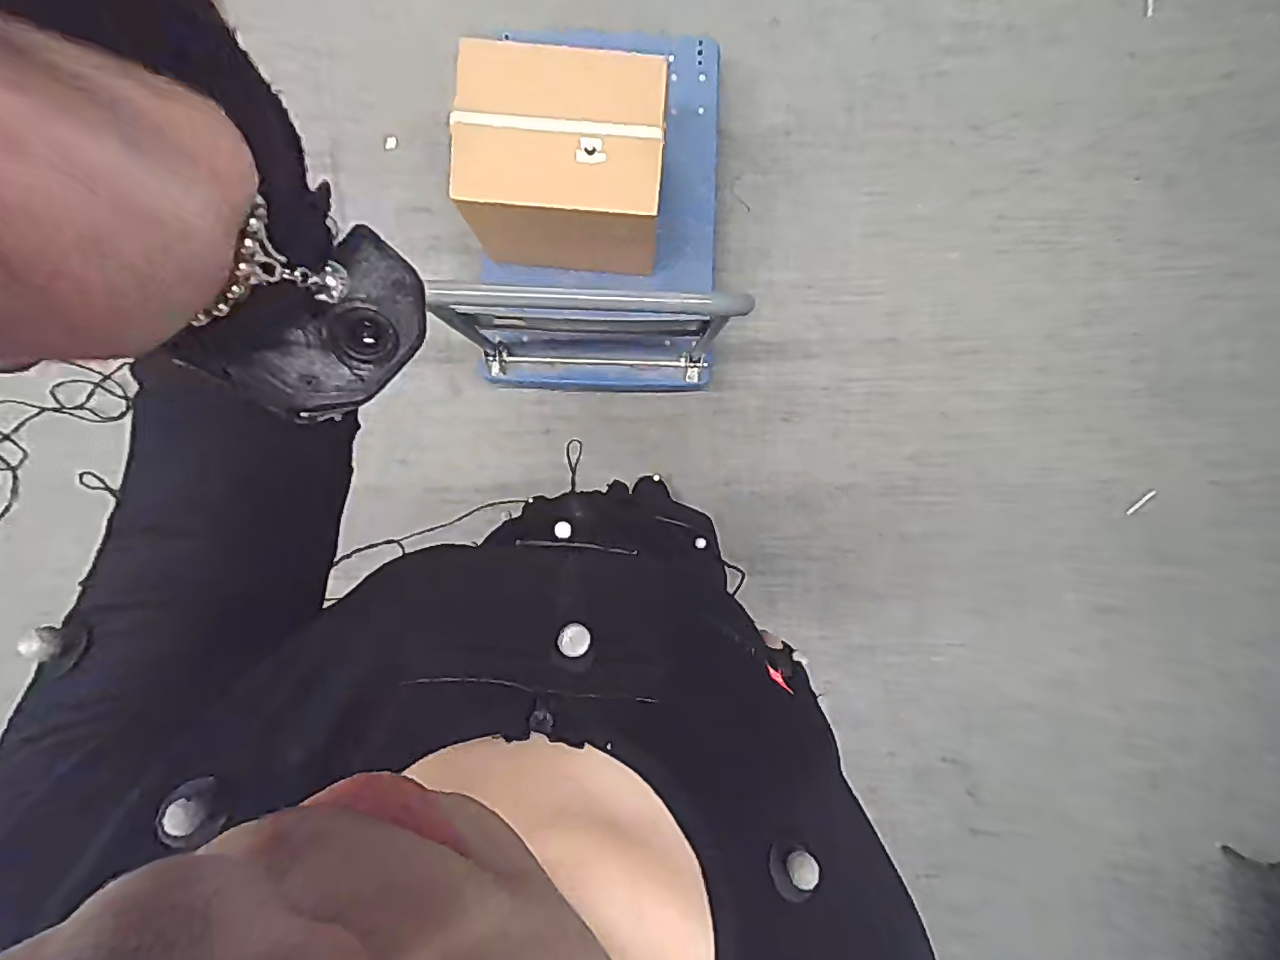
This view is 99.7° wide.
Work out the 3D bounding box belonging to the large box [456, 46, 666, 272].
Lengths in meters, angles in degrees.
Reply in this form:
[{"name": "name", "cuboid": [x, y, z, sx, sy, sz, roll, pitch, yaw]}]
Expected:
[{"name": "large box", "cuboid": [-0.161, -0.685, 1.208, 0.408, 0.320, 0.320, 4, 90, -2]}]
